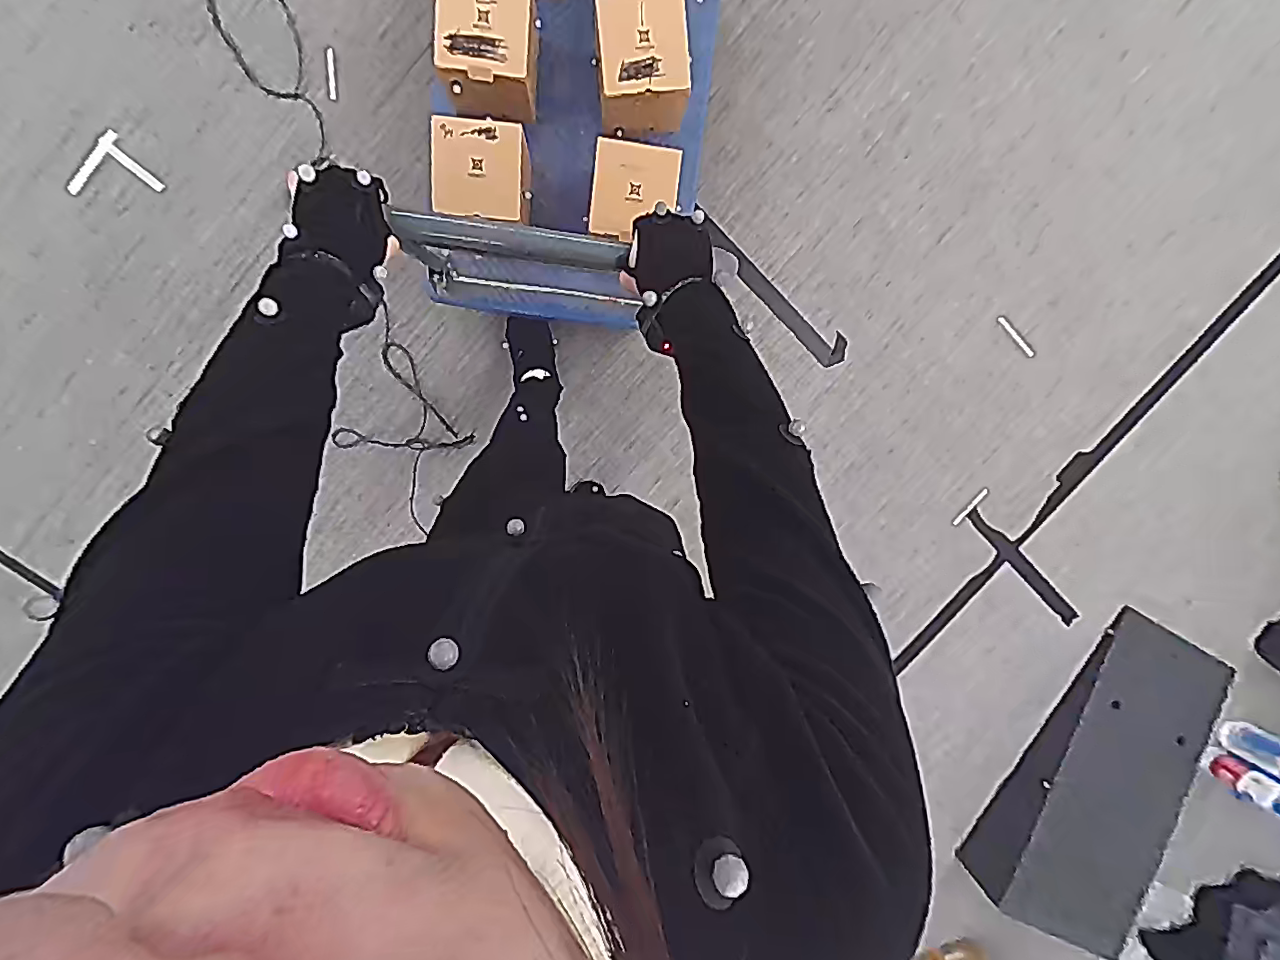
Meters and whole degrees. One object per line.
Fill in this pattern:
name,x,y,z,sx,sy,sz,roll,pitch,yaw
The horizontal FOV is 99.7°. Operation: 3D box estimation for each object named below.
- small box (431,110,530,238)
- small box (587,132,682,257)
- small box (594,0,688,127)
small box,-0.312,-0.601,1.085,0.168,0.176,0.179,2,100,-7
small box,-0.017,-0.577,1.119,0.168,0.176,0.179,6,99,-7
small box,-0.002,-0.831,1.076,0.168,0.176,0.179,-6,99,-4
